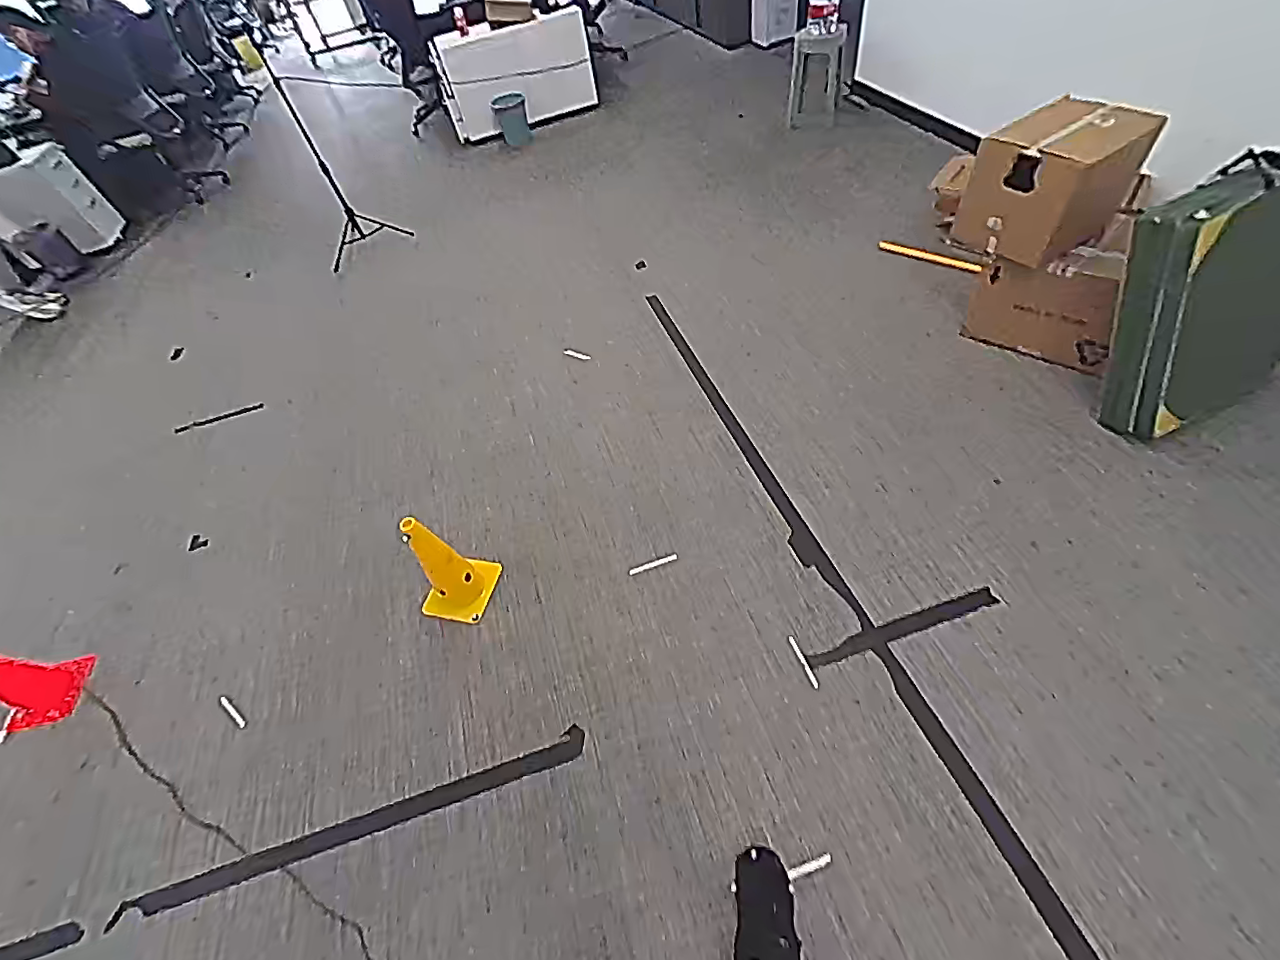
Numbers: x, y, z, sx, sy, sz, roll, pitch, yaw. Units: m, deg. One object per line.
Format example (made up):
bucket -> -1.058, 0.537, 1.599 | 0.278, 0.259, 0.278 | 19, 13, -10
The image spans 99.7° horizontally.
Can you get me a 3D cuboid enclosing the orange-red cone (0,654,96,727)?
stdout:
orange-red cone -> -1.826, 0.540, 1.529 | 0.199, 0.360, 0.198 | -12, 51, 0
